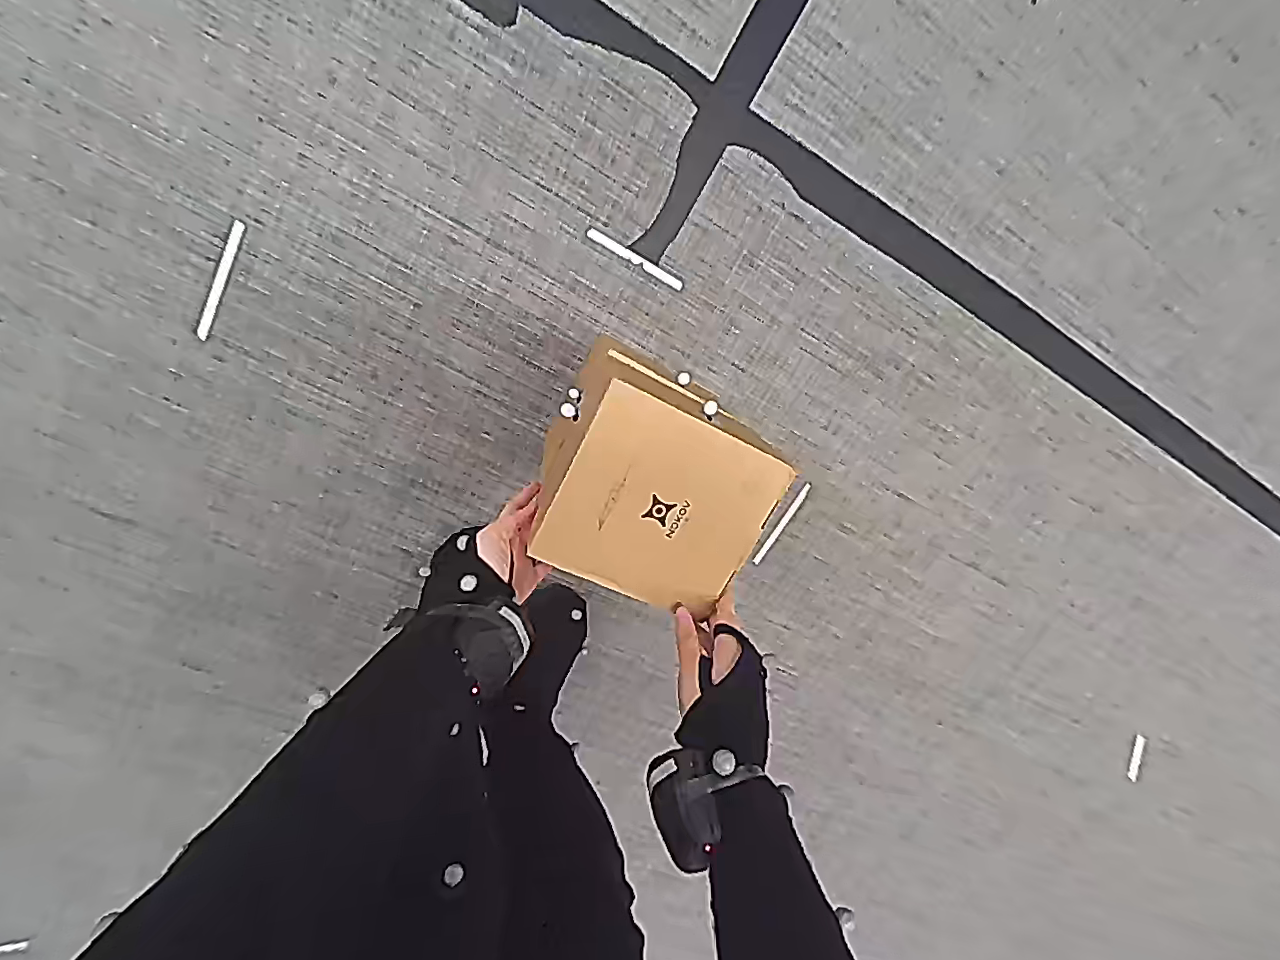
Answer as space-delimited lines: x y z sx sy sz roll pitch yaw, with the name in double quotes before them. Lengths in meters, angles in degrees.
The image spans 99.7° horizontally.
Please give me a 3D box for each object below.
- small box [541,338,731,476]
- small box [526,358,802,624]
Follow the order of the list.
"small box" -0.005 -0.060 0.664 0.179 0.176 0.168 27 104 -16
"small box" 0.012 -0.002 0.511 0.179 0.176 0.168 25 105 -14
